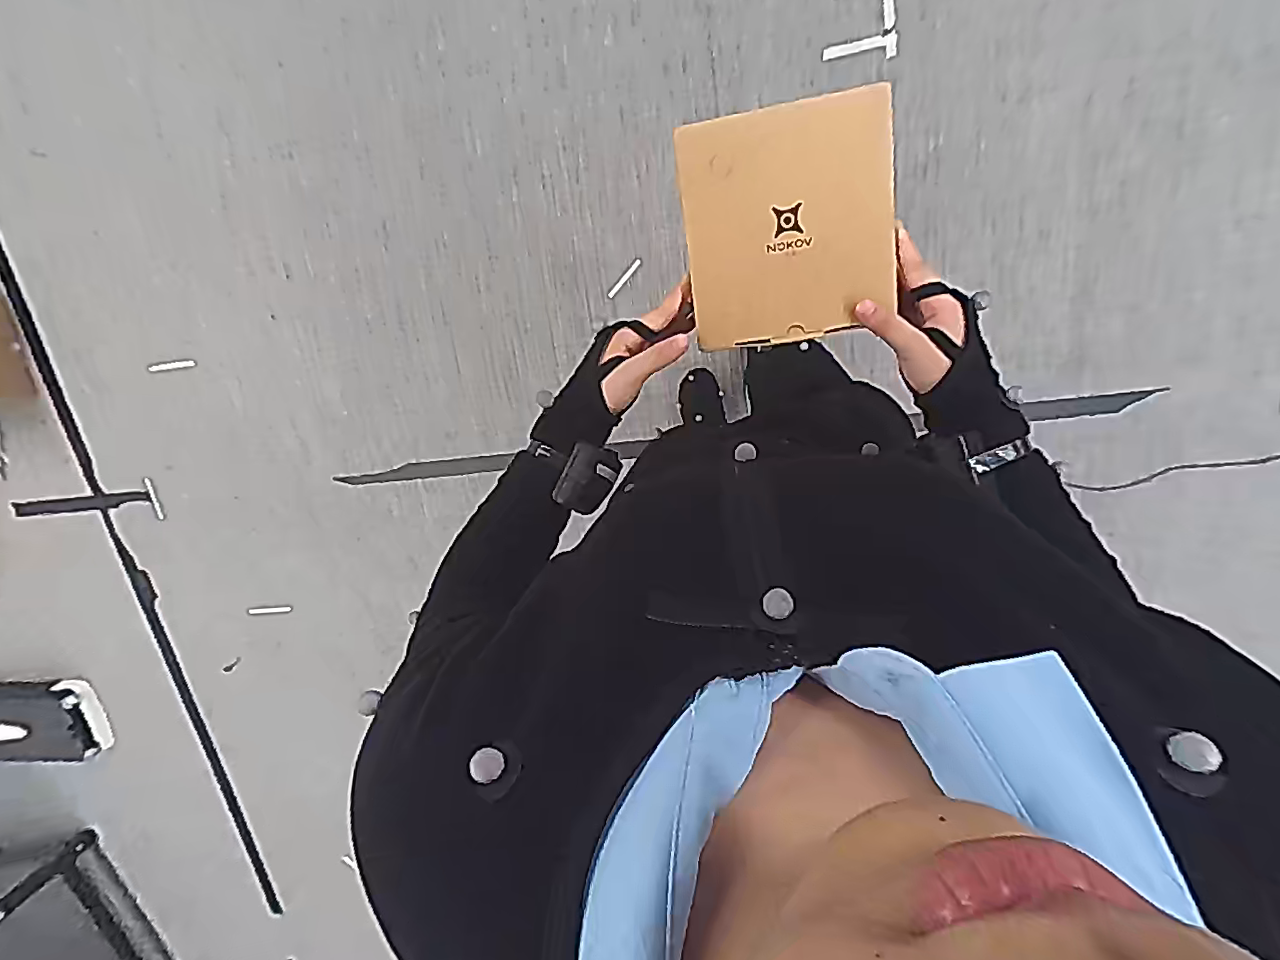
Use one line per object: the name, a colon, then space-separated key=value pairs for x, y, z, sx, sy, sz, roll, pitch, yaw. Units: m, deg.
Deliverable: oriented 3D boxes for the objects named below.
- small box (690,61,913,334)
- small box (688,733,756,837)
small box: x=0.136 y=-0.235 z=0.501 sx=0.168 sy=0.176 sz=0.179 roll=-7 pitch=105 yaw=9
small box: x=0.216 y=0.806 z=1.436 sx=0.168 sy=0.176 sz=0.179 roll=-4 pitch=105 yaw=6
